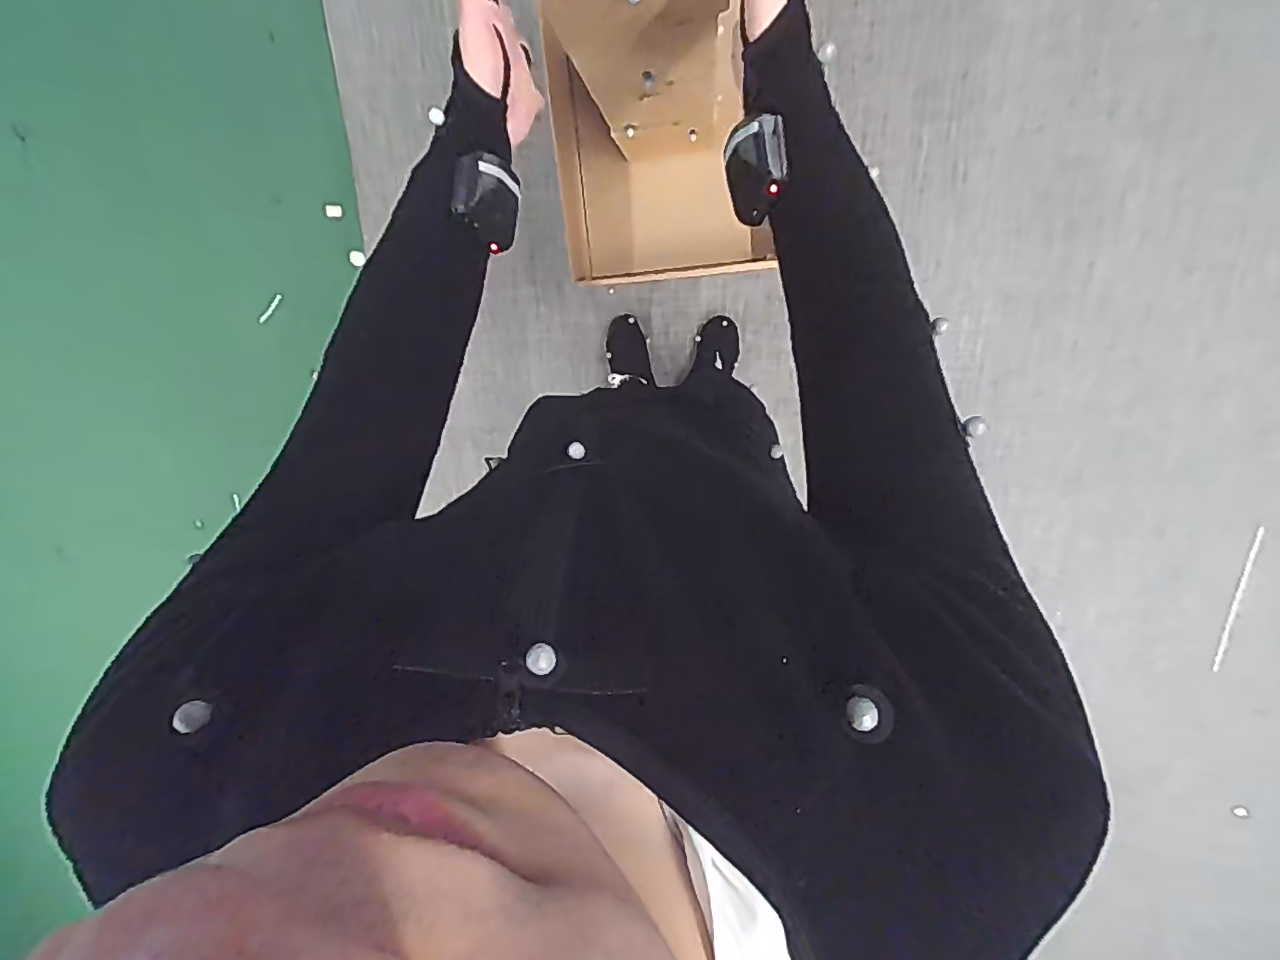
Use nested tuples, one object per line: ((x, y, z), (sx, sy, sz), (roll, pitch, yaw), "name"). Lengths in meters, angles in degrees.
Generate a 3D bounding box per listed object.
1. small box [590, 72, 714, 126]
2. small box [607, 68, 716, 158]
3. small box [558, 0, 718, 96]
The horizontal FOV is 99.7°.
((0.021, -0.623, 0.762), (0.168, 0.176, 0.179), (-1, 107, 7), "small box")
((0.039, -0.667, 0.919), (0.179, 0.176, 0.168), (-3, 107, 8), "small box")
((0.001, -0.571, 0.607), (0.168, 0.176, 0.179), (-2, 107, 8), "small box")
